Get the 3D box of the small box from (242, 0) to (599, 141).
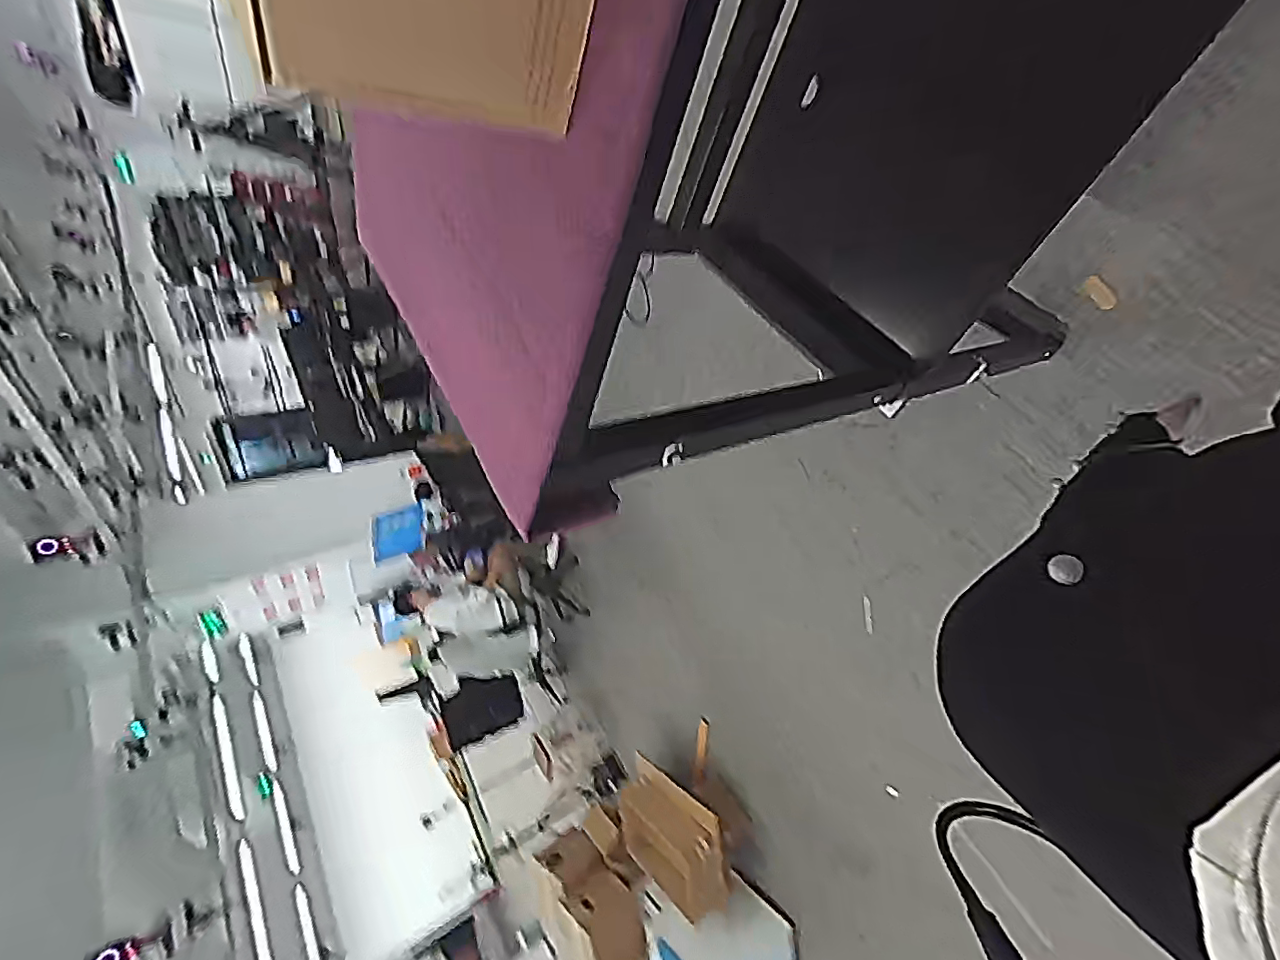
[{"bbox_3d":[-0.119,-0.312,0.287,0.168,0.176,0.179,57,143,26],"label":"small box"}]
